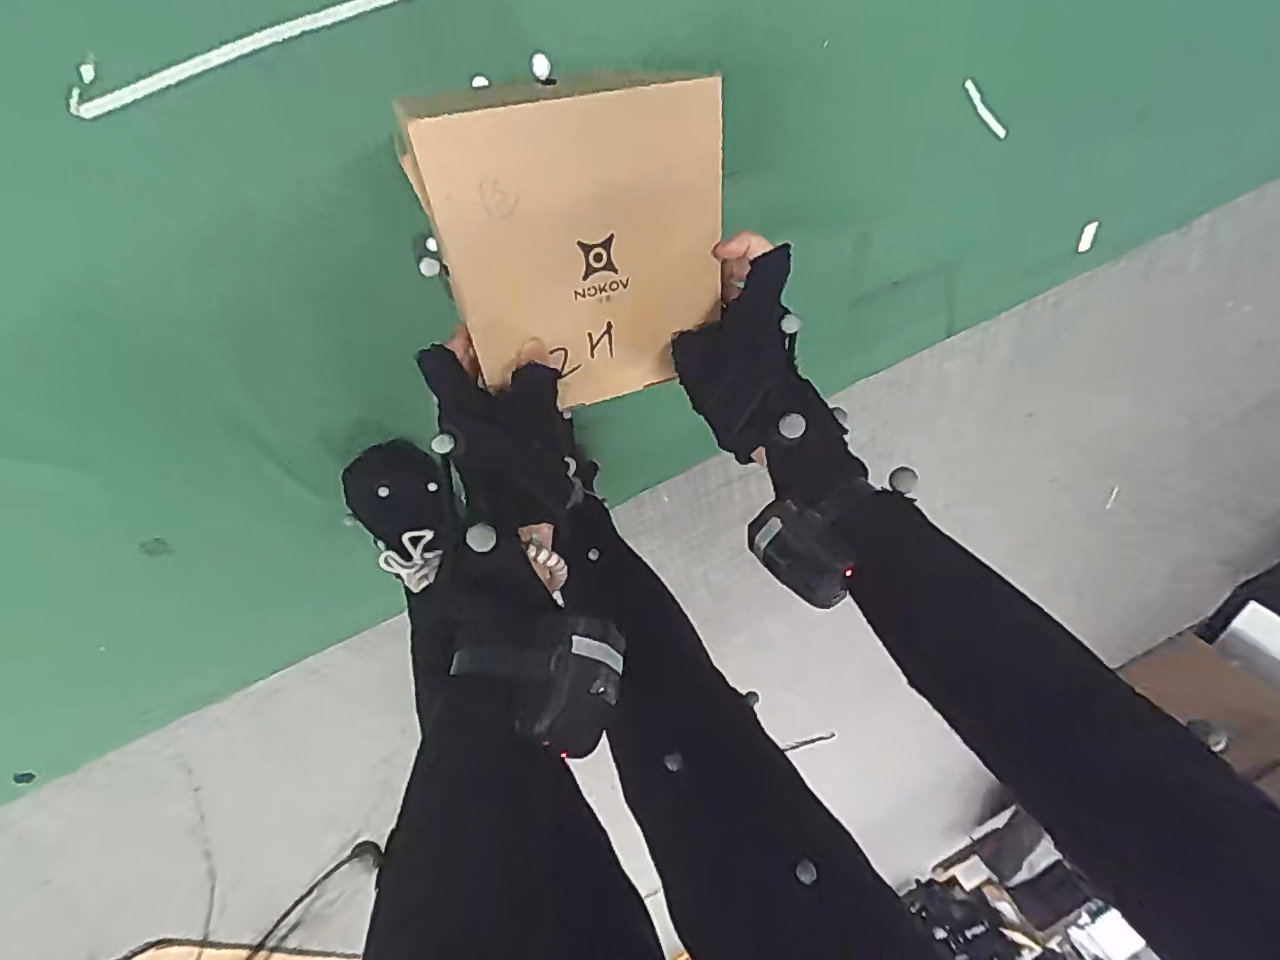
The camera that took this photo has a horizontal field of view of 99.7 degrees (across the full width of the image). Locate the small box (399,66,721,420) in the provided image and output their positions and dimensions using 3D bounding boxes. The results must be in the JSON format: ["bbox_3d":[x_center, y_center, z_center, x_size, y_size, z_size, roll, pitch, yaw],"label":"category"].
[{"bbox_3d":[-0.056,-0.174,0.379,0.168,0.176,0.179,-18,133,-13],"label":"small box"}]
